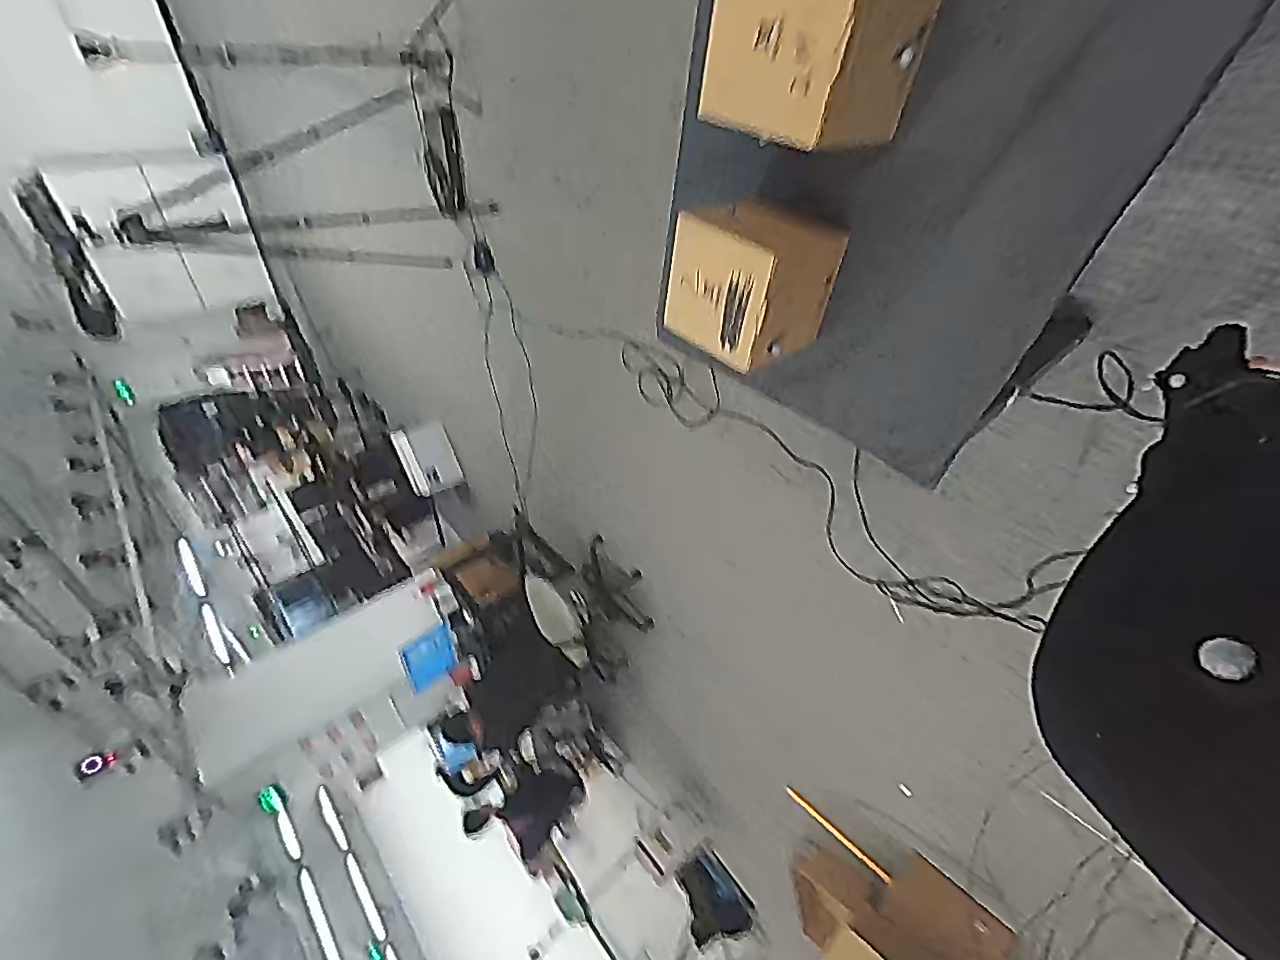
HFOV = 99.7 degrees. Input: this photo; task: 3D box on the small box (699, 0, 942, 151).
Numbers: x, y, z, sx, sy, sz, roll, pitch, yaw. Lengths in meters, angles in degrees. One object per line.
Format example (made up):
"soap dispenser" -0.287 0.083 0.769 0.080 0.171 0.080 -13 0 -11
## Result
"small box" 0.197 -0.487 0.610 0.179 0.176 0.168 39 141 30
